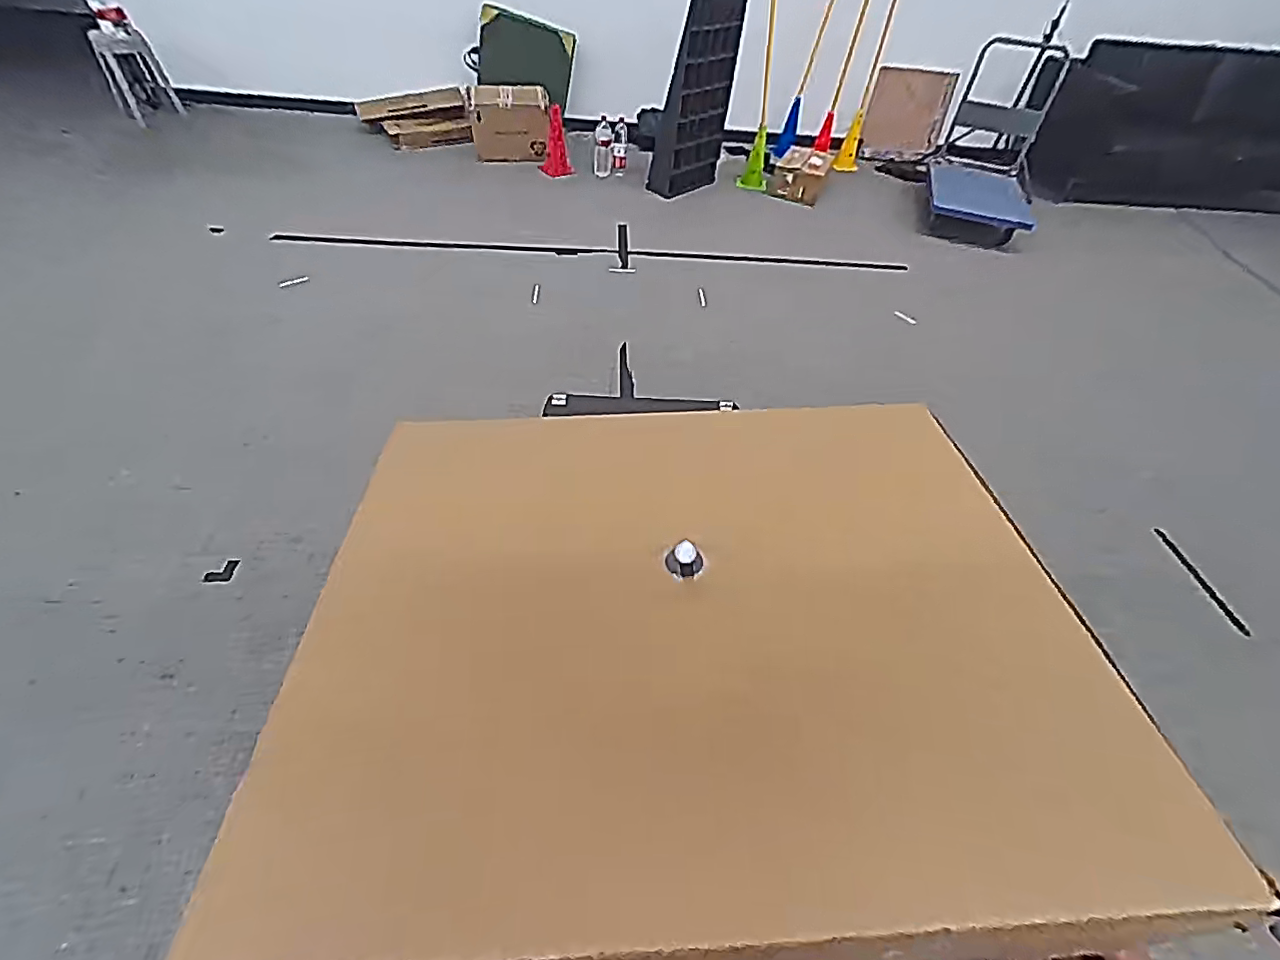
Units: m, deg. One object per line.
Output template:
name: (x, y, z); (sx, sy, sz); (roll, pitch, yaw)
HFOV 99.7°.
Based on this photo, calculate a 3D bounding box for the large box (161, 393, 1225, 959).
large box: (0.015, 0.159, 0.406); (0.408, 0.320, 0.320); (-5, 46, -2)

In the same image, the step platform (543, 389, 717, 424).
step platform: (0.016, -0.123, 1.805); (0.684, 0.204, 0.286); (6, 49, -2)
